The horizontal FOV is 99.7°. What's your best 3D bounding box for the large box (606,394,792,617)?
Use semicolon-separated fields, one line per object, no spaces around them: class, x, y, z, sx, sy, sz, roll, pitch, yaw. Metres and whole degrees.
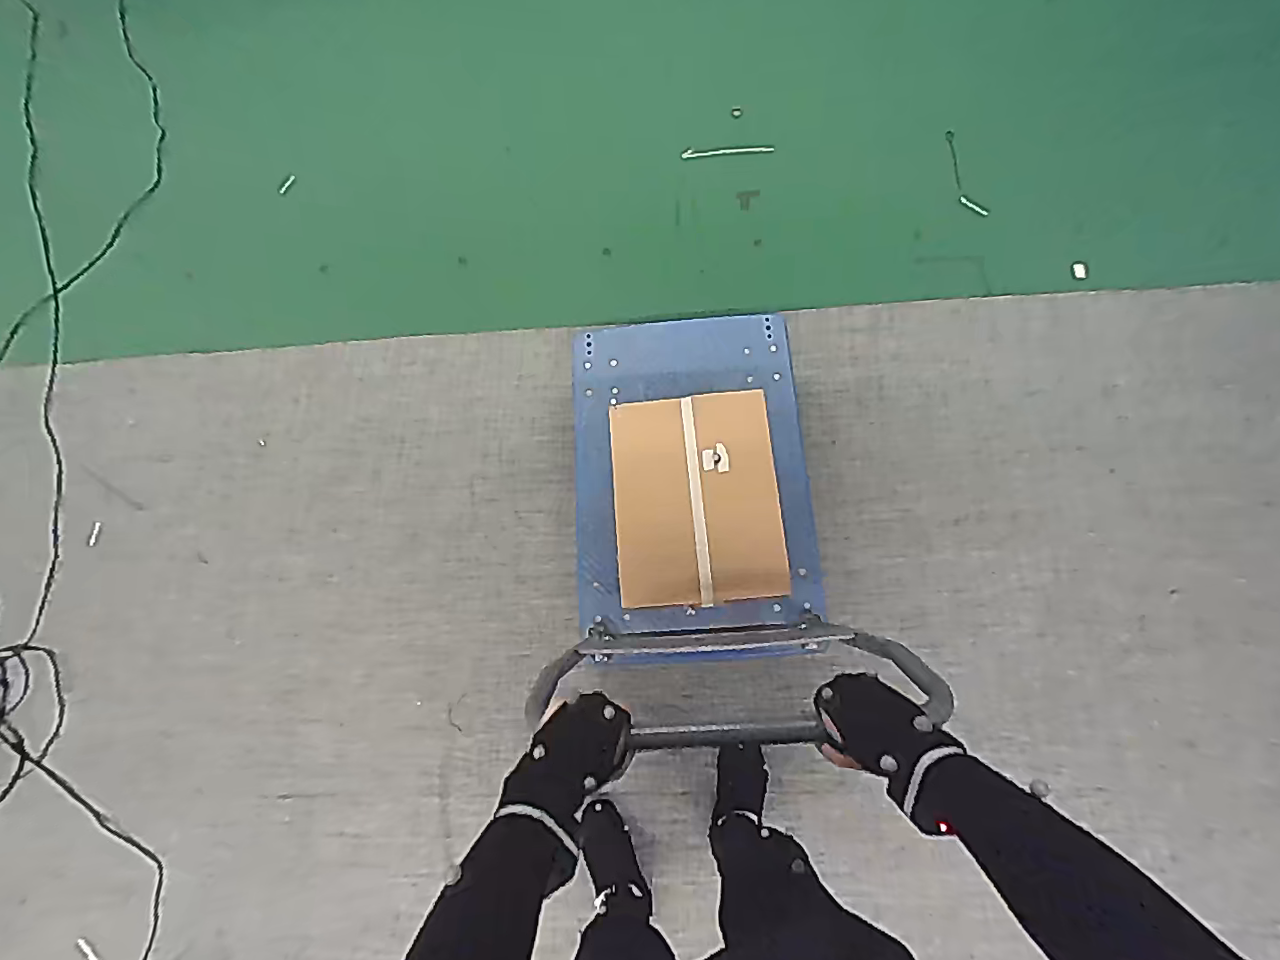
large box;0.117;0.075;1.175;0.320;0.320;0.408;-6;75;3
